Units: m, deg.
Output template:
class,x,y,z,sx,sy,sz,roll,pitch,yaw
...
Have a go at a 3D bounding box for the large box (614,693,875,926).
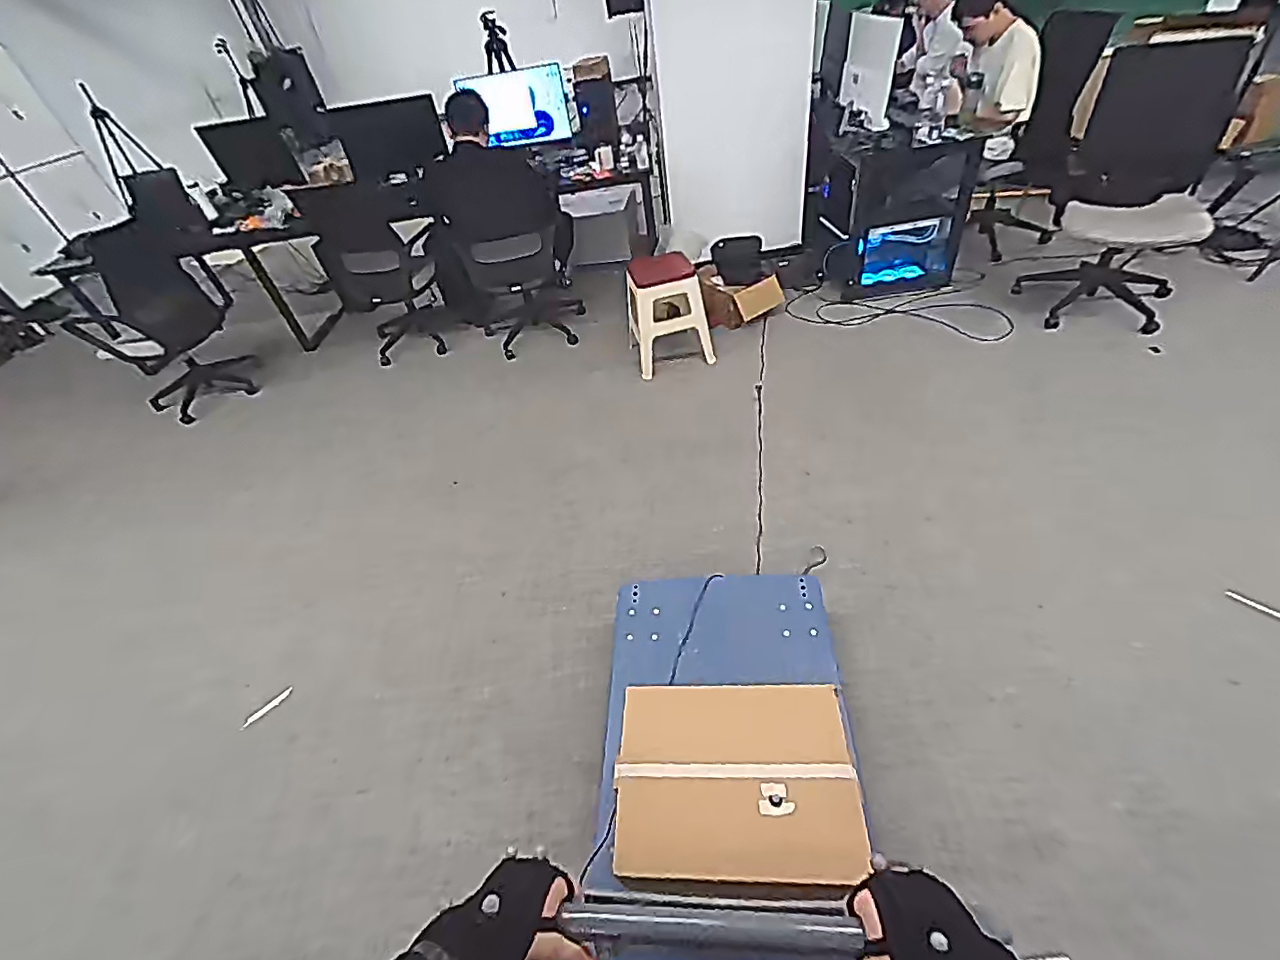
class,x,y,z,sx,sy,sz,roll,pitch,yaw
large box,0.178,0.625,1.029,0.408,0.320,0.320,-3,44,7
